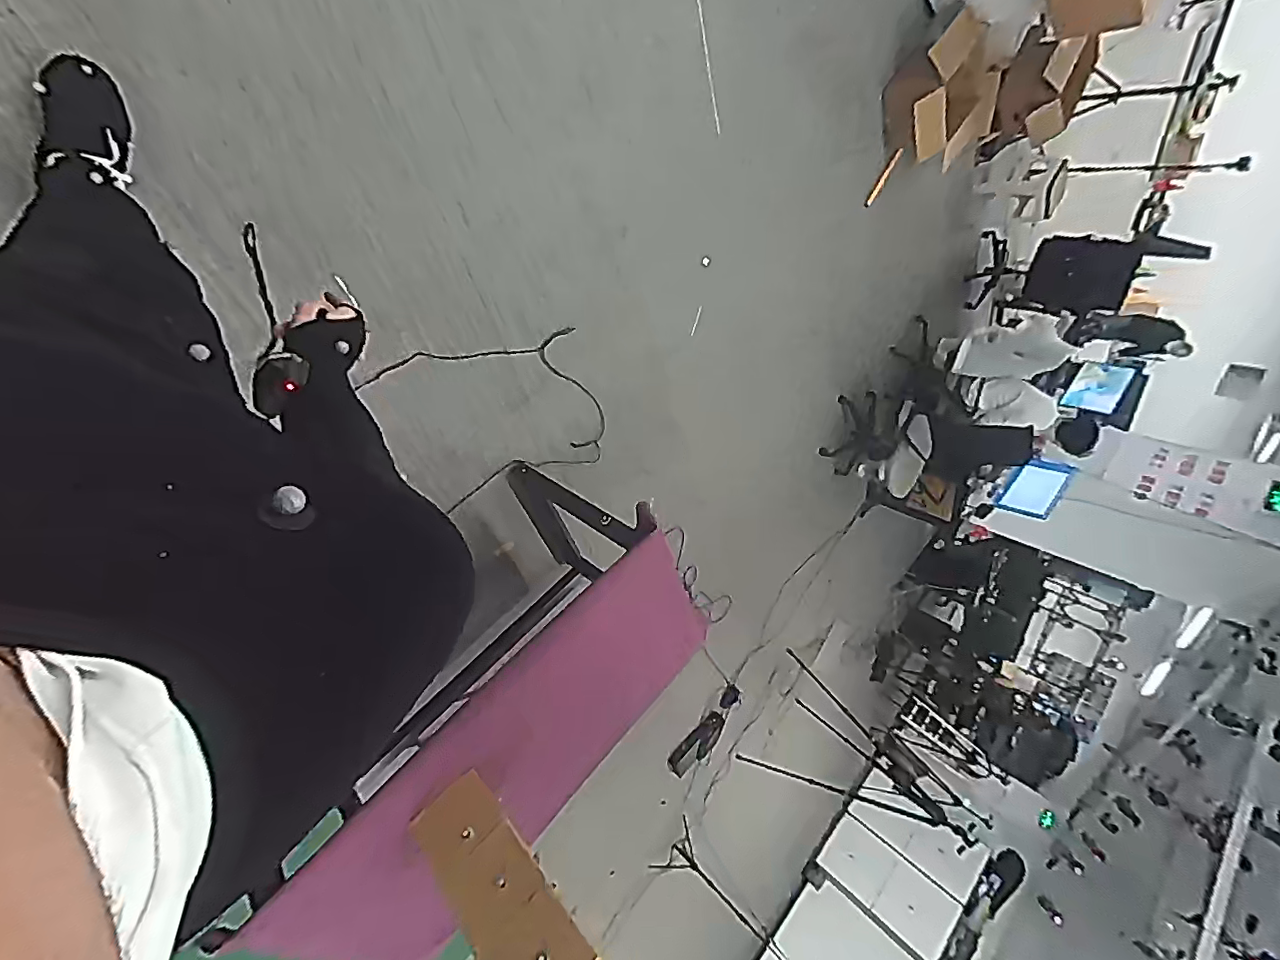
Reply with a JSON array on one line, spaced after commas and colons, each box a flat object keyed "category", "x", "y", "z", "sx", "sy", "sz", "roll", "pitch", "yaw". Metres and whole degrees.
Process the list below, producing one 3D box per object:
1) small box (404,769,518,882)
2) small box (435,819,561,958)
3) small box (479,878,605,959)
[{"category": "small box", "x": -0.416, "y": 0.824, "z": 1.266, "sx": 0.179, "sy": 0.176, "sz": 0.168, "roll": -34, "pitch": 132, "yaw": -31}, {"category": "small box", "x": -0.304, "y": 0.881, "z": 1.162, "sx": 0.179, "sy": 0.176, "sz": 0.168, "roll": -37, "pitch": 134, "yaw": -29}, {"category": "small box", "x": -0.191, "y": 0.942, "z": 1.059, "sx": 0.179, "sy": 0.176, "sz": 0.168, "roll": -38, "pitch": 135, "yaw": -28}]
